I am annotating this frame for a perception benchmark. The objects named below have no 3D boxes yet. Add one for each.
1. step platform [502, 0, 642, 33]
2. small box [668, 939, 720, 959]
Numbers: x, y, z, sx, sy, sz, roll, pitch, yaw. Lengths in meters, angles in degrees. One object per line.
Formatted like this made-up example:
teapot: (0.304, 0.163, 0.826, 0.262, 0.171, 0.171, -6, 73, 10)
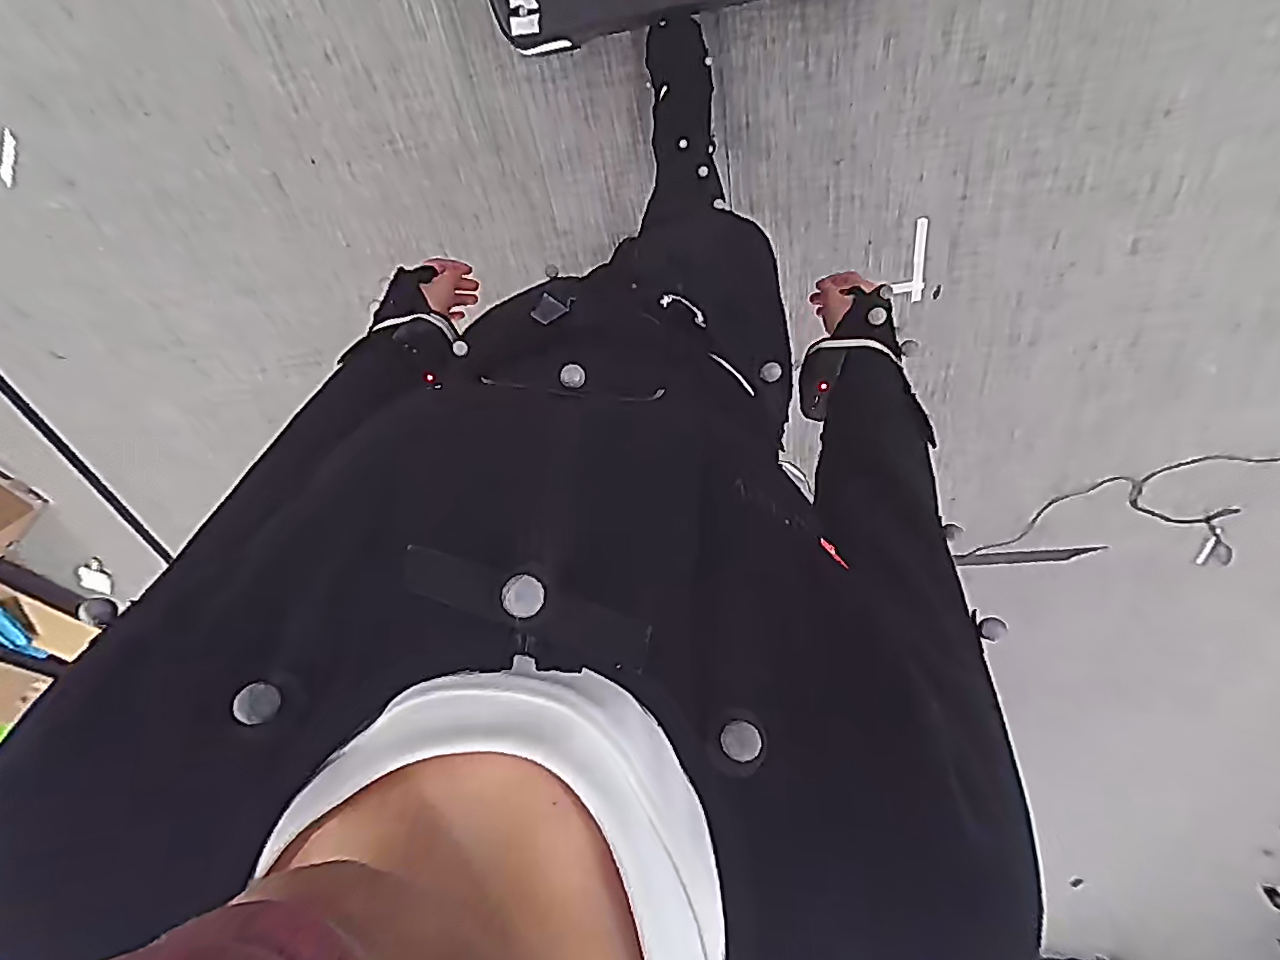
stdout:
step platform: (0.095, -0.886, 0.769, 0.684, 0.204, 0.286, -5, 126, 10)
small box: (0.176, 1.604, 1.726, 0.168, 0.176, 0.179, -3, 126, 6)
